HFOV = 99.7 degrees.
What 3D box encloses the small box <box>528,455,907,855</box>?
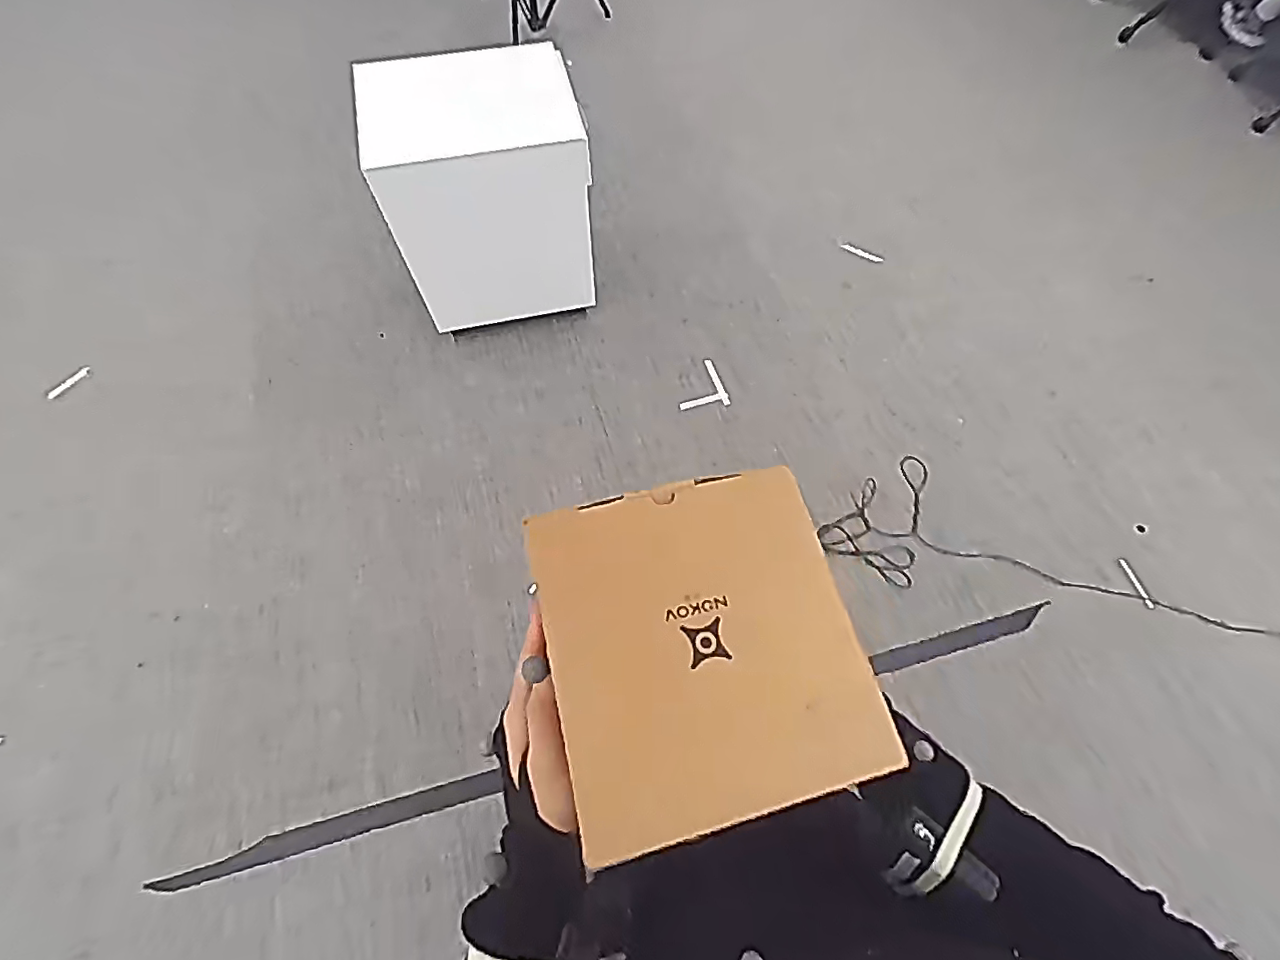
[{"bbox_3d":[0.030,0.110,0.360,0.168,0.176,0.179,-12,66,-10],"label":"small box"}]
